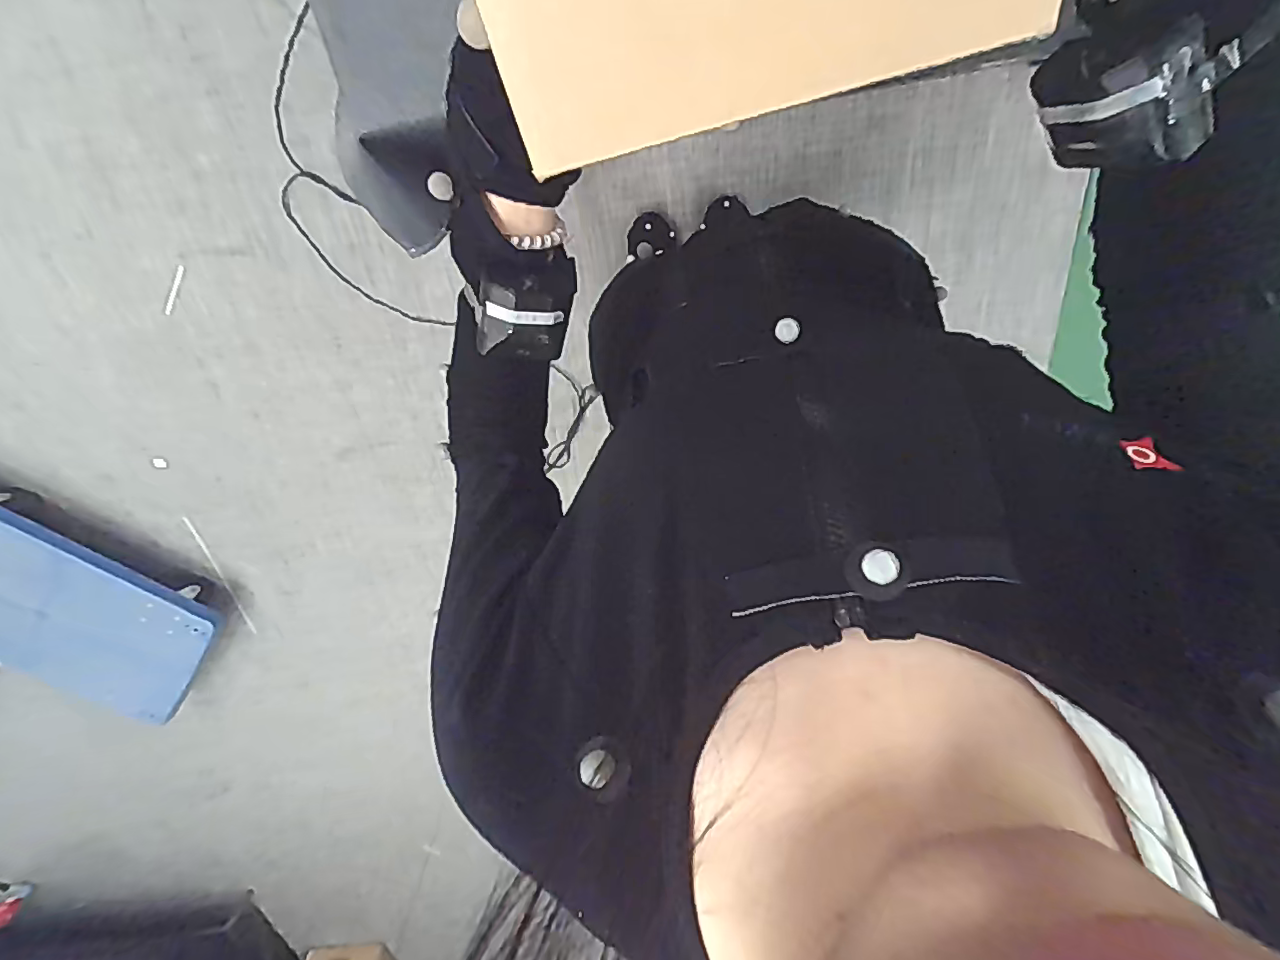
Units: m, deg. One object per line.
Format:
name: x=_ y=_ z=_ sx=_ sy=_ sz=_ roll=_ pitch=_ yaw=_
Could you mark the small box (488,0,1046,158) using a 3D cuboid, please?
small box: x=0.025 y=-0.241 z=0.182 sx=0.168 sy=0.176 sz=0.179 roll=-10 pitch=129 yaw=10
